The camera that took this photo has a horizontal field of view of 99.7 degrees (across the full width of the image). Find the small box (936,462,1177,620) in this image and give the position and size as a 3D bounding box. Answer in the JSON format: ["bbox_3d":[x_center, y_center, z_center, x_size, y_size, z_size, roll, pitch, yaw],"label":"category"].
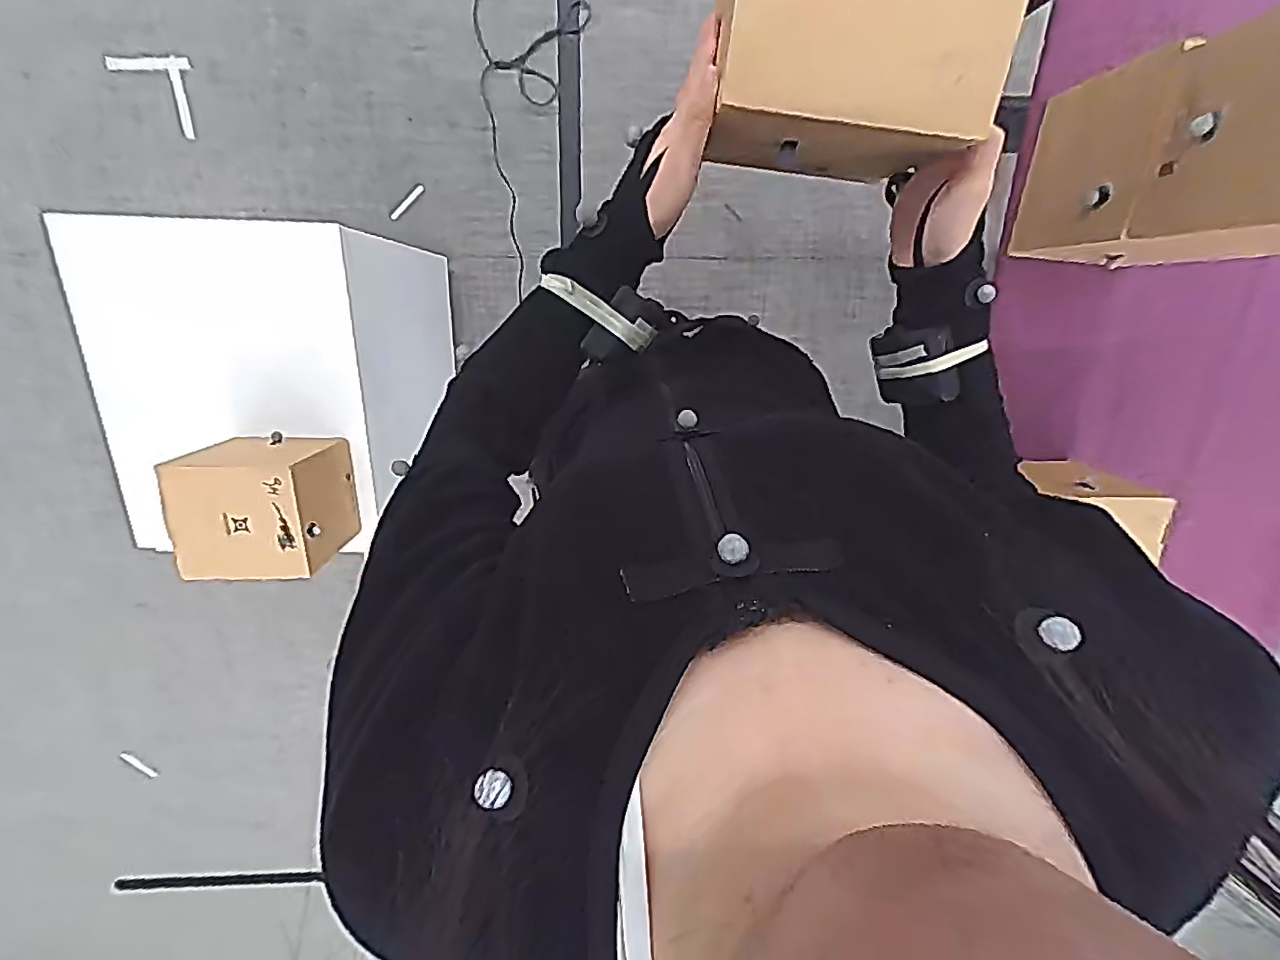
[{"bbox_3d":[0.545,0.075,0.736,0.179,0.176,0.168,0,107,-2],"label":"small box"}]

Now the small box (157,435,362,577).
[{"bbox_3d":[-0.544,0.032,0.800,0.179,0.176,0.168,0,107,-2],"label":"small box"}]

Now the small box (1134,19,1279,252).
[{"bbox_3d":[0.586,-0.287,0.446,0.179,0.176,0.168,3,108,-3],"label":"small box"}]

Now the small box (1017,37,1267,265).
[{"bbox_3d":[0.568,-0.341,0.600,0.168,0.176,0.179,4,107,-5],"label":"small box"}]

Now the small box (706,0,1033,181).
[{"bbox_3d":[0.141,-0.319,0.366,0.168,0.176,0.179,6,109,-1],"label":"small box"}]
